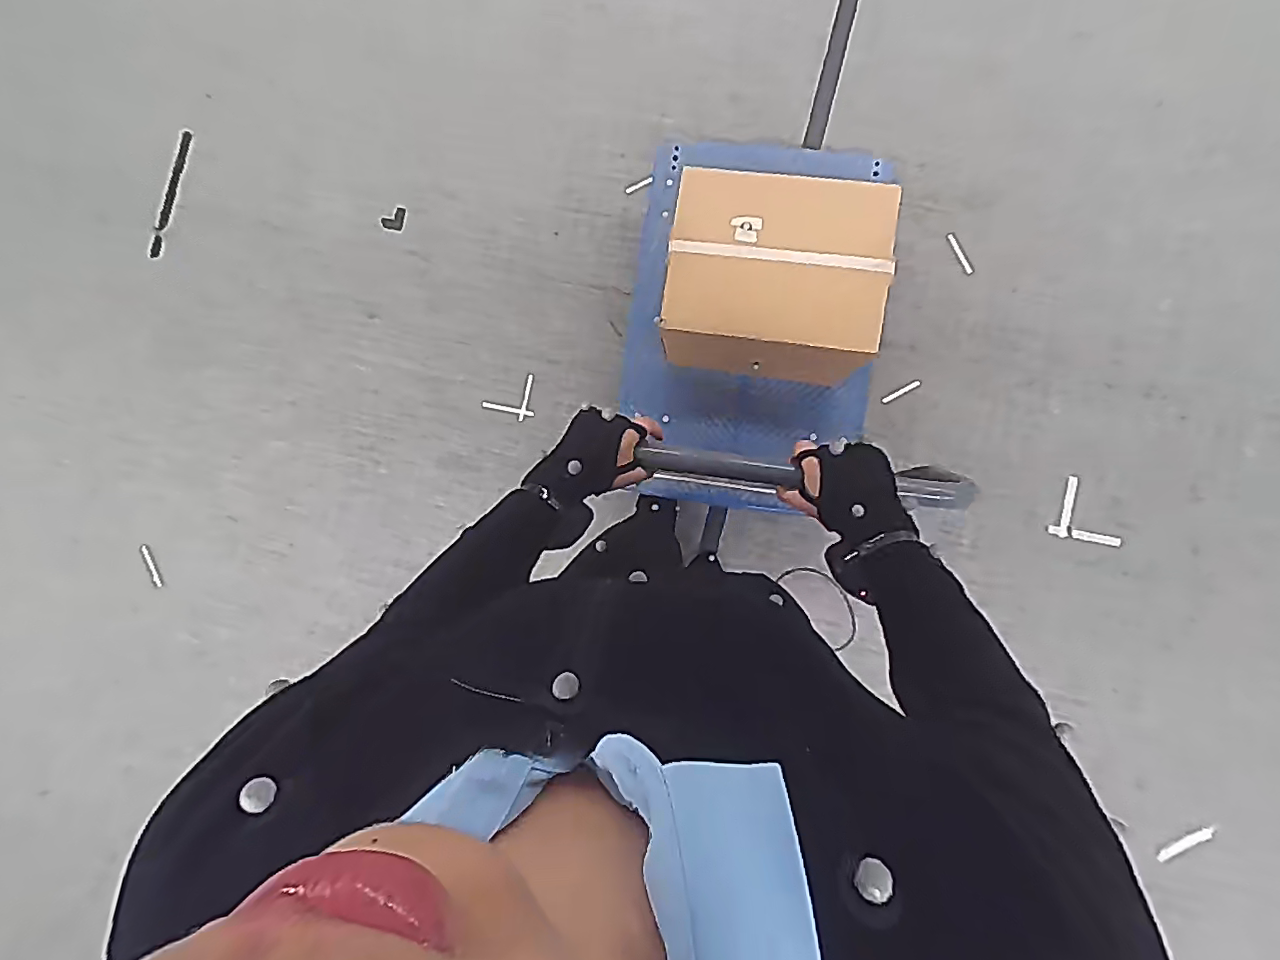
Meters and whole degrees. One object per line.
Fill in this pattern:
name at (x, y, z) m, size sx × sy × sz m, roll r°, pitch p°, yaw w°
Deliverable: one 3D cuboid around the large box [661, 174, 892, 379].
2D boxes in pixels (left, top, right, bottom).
large box at (0.273, -0.413, 1.166) m, size 0.408 × 0.320 × 0.320 m, roll 8°, pitch 88°, yaw 7°
